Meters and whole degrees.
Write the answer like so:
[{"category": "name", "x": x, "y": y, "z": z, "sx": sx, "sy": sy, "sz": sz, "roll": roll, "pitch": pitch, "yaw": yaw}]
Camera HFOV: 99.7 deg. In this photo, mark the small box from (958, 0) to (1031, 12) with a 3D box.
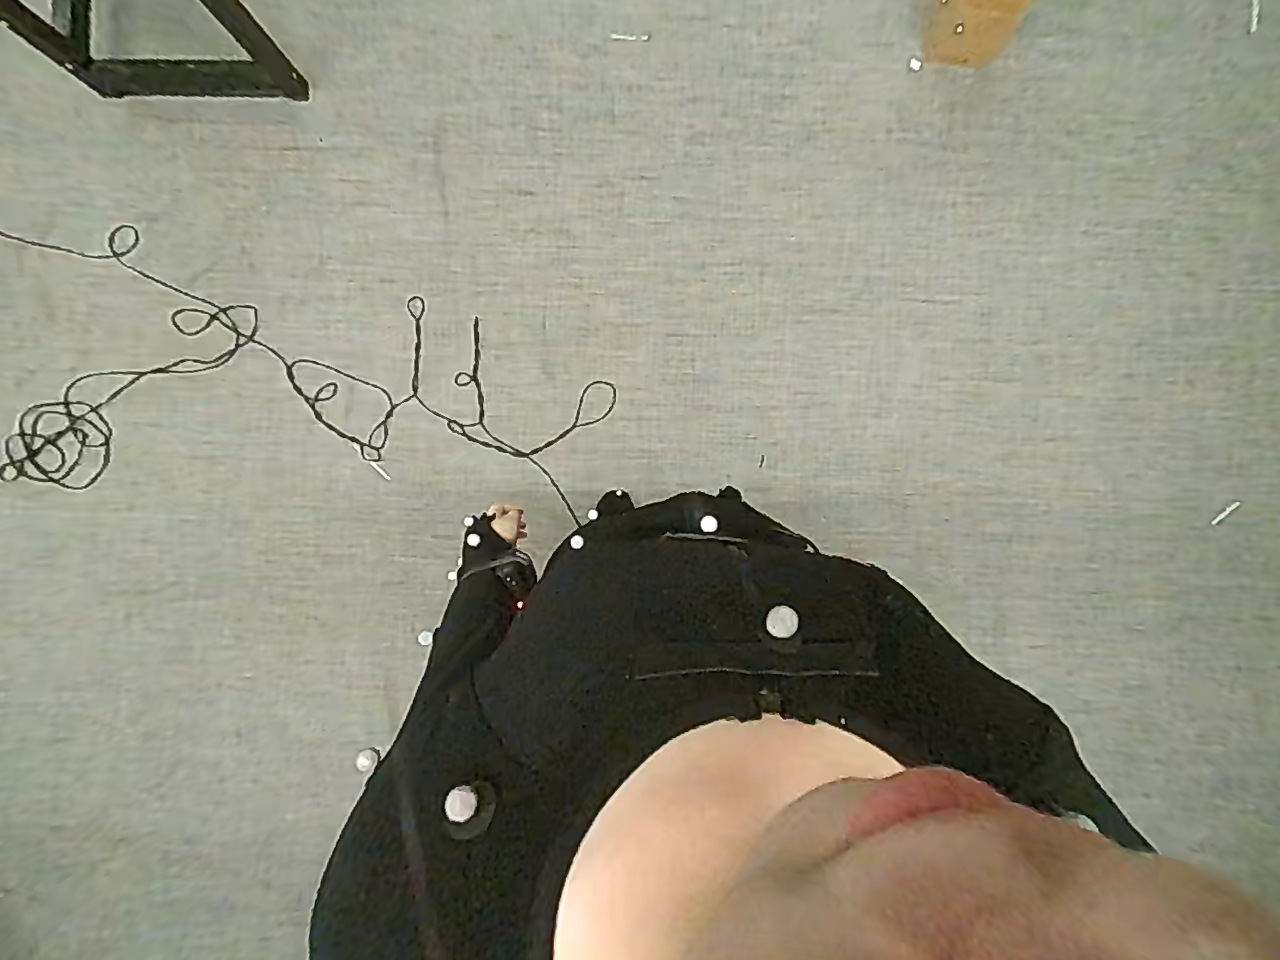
[{"category": "small box", "x": 0.889, "y": -1.257, "z": 1.272, "sx": 0.179, "sy": 0.176, "sz": 0.168, "roll": 9, "pitch": 91, "yaw": 1}]
